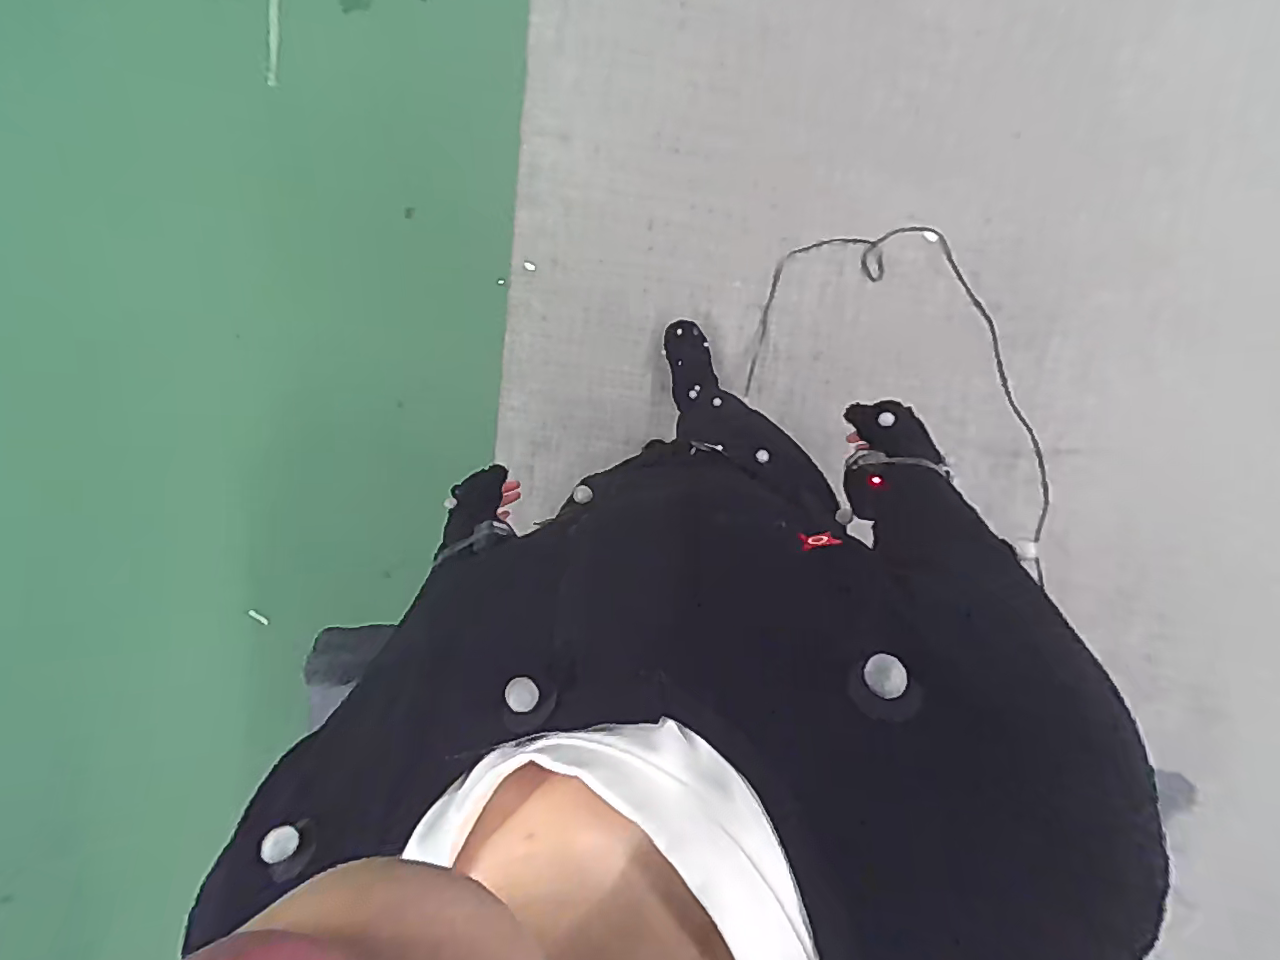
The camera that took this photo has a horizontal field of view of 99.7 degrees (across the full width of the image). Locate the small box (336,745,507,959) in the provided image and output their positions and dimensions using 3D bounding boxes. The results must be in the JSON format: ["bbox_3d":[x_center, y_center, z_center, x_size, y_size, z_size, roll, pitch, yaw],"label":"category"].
[{"bbox_3d":[-0.293,0.504,0.755,0.168,0.176,0.179,4,102,6],"label":"small box"}]

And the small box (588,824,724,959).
[{"bbox_3d":[0.023,0.613,0.740,0.168,0.176,0.179,3,101,6],"label":"small box"}]
